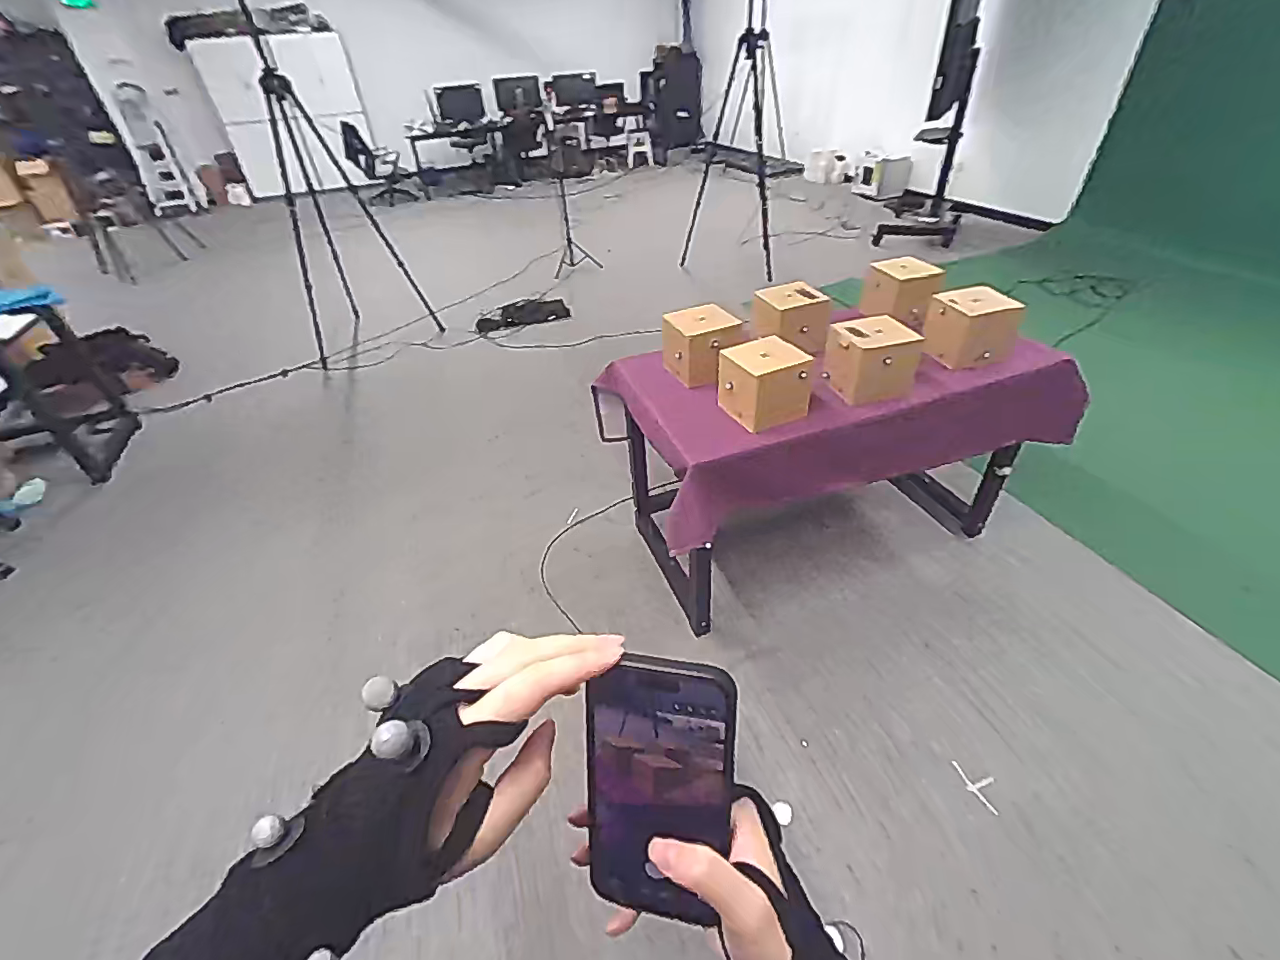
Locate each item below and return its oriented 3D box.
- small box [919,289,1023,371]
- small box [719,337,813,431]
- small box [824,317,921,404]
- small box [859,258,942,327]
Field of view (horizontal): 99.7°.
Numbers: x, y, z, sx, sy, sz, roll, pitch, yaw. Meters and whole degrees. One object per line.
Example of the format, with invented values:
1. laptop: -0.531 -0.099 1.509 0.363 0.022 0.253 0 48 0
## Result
1. small box: 0.953 -0.437 1.576 0.179 0.176 0.168 -11 39 -8
2. small box: 0.320 -0.248 1.405 0.179 0.176 0.168 -19 41 -19
3. small box: 0.619 -0.322 1.466 0.179 0.176 0.168 -11 40 -9
4. small box: 0.861 -0.624 1.811 0.168 0.176 0.179 -14 41 -10
